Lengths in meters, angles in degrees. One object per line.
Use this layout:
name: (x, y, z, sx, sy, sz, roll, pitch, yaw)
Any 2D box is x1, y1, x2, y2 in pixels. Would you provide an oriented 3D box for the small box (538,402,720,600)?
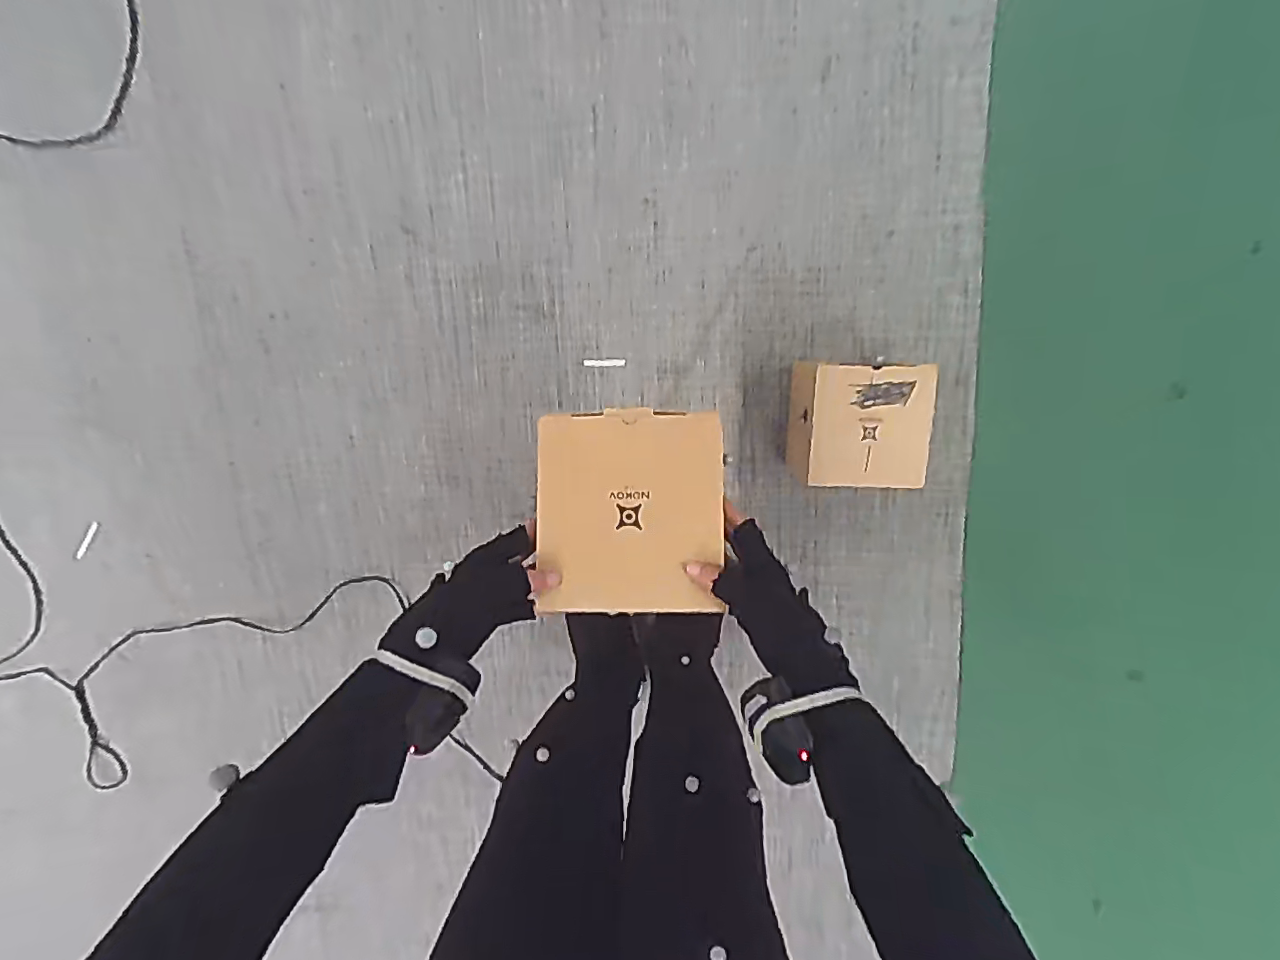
small box: (-0.005, 0.024, 0.561, 0.168, 0.176, 0.179, -1, 85, 3)

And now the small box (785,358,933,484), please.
small box: (0.327, -0.097, 0.842, 0.168, 0.176, 0.179, 1, 102, 4)
